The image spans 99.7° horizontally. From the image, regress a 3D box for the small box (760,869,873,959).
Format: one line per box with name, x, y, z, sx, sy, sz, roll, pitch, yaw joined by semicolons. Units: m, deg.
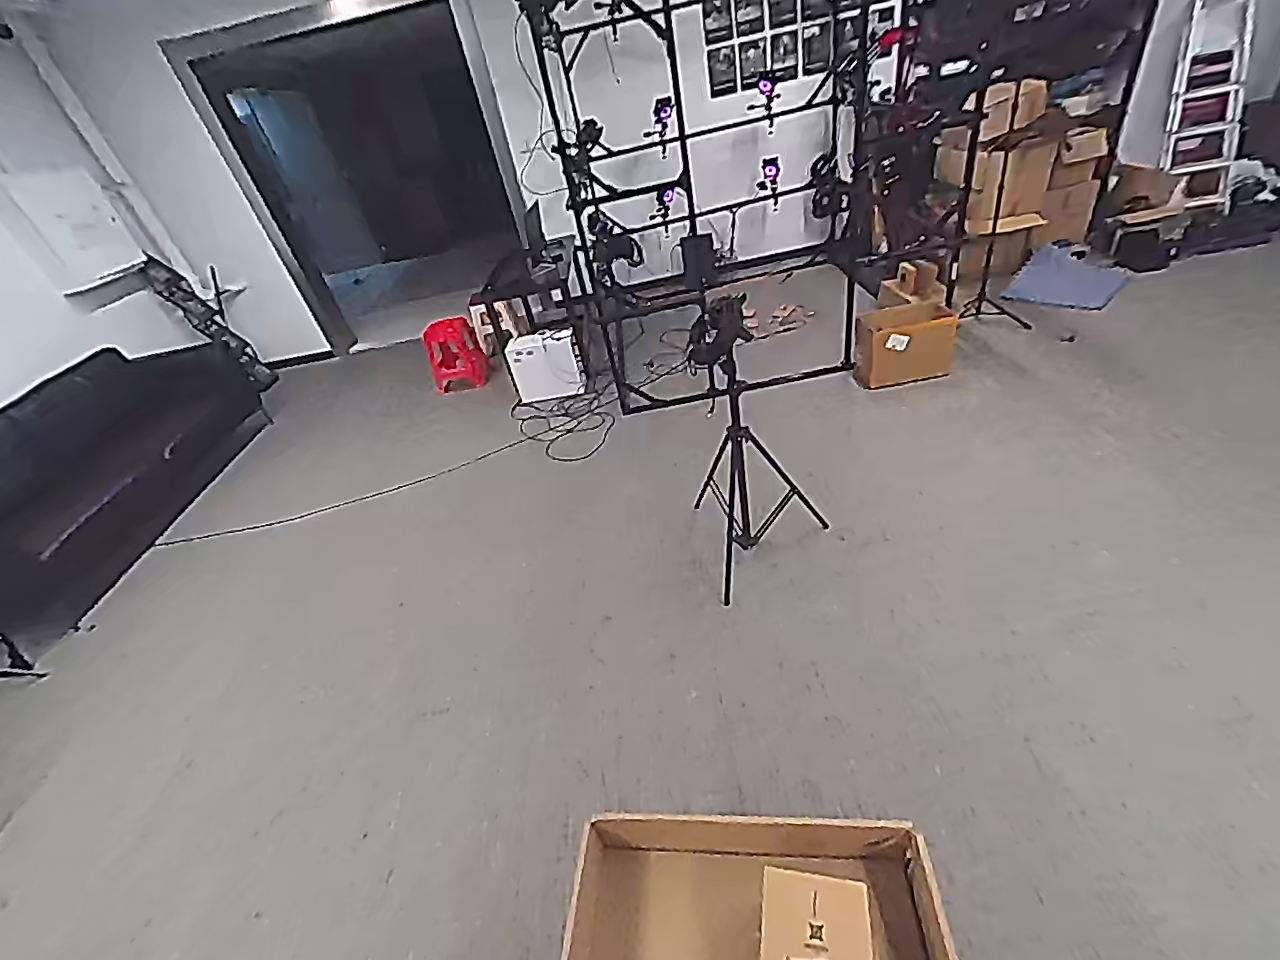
small box;0.287;0.776;0.877;0.168;0.176;0.179;-2;36;17
